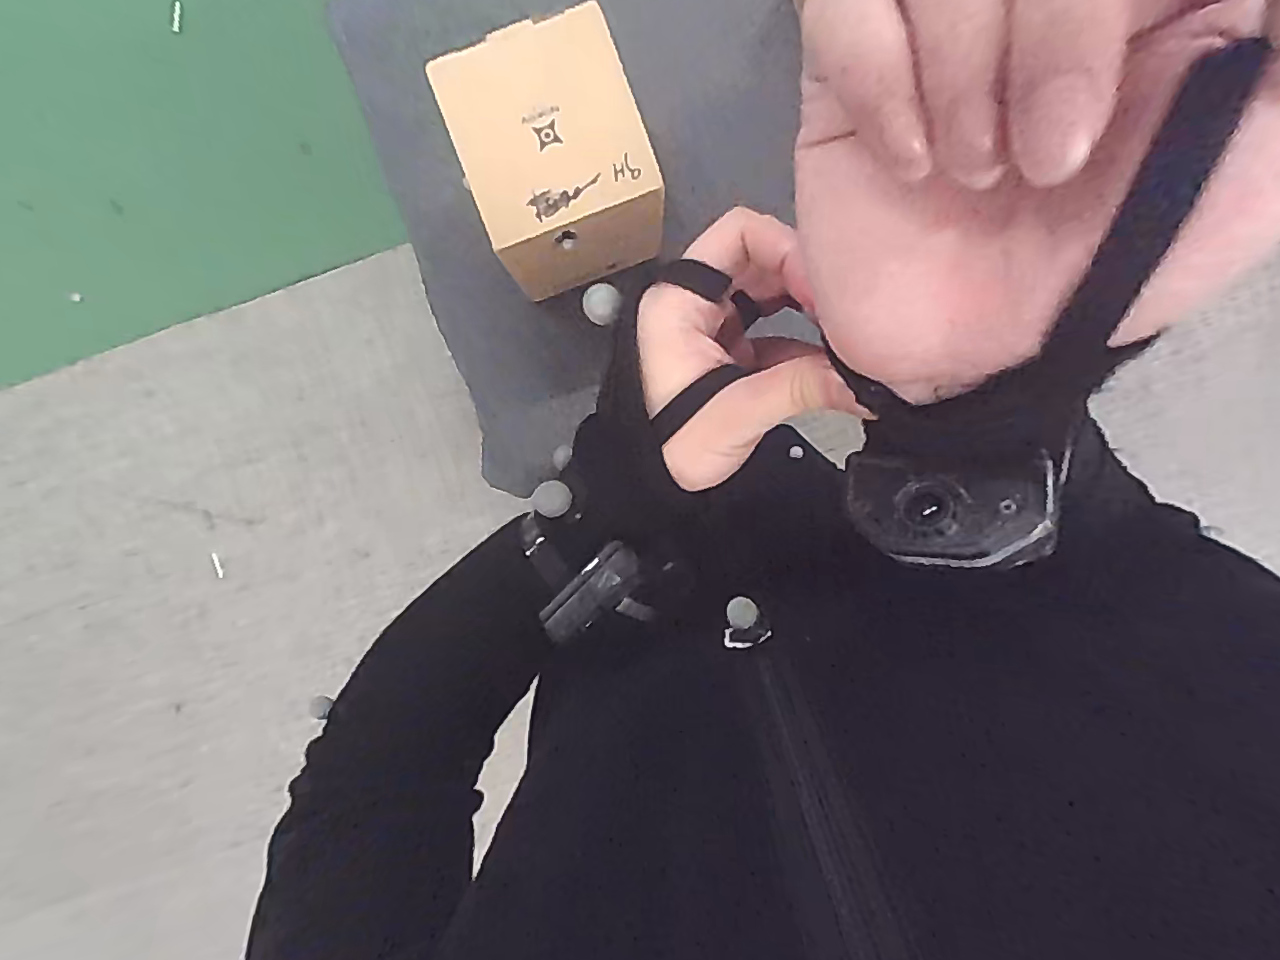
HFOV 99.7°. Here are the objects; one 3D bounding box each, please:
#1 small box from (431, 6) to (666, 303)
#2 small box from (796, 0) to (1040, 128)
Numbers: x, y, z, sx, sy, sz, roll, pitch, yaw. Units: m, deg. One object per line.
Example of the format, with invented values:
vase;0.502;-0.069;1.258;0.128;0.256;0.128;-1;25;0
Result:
small box;-0.081;-0.312;0.557;0.168;0.176;0.179;-21;92;2
small box;0.275;-0.510;0.546;0.168;0.176;0.179;-21;94;3
